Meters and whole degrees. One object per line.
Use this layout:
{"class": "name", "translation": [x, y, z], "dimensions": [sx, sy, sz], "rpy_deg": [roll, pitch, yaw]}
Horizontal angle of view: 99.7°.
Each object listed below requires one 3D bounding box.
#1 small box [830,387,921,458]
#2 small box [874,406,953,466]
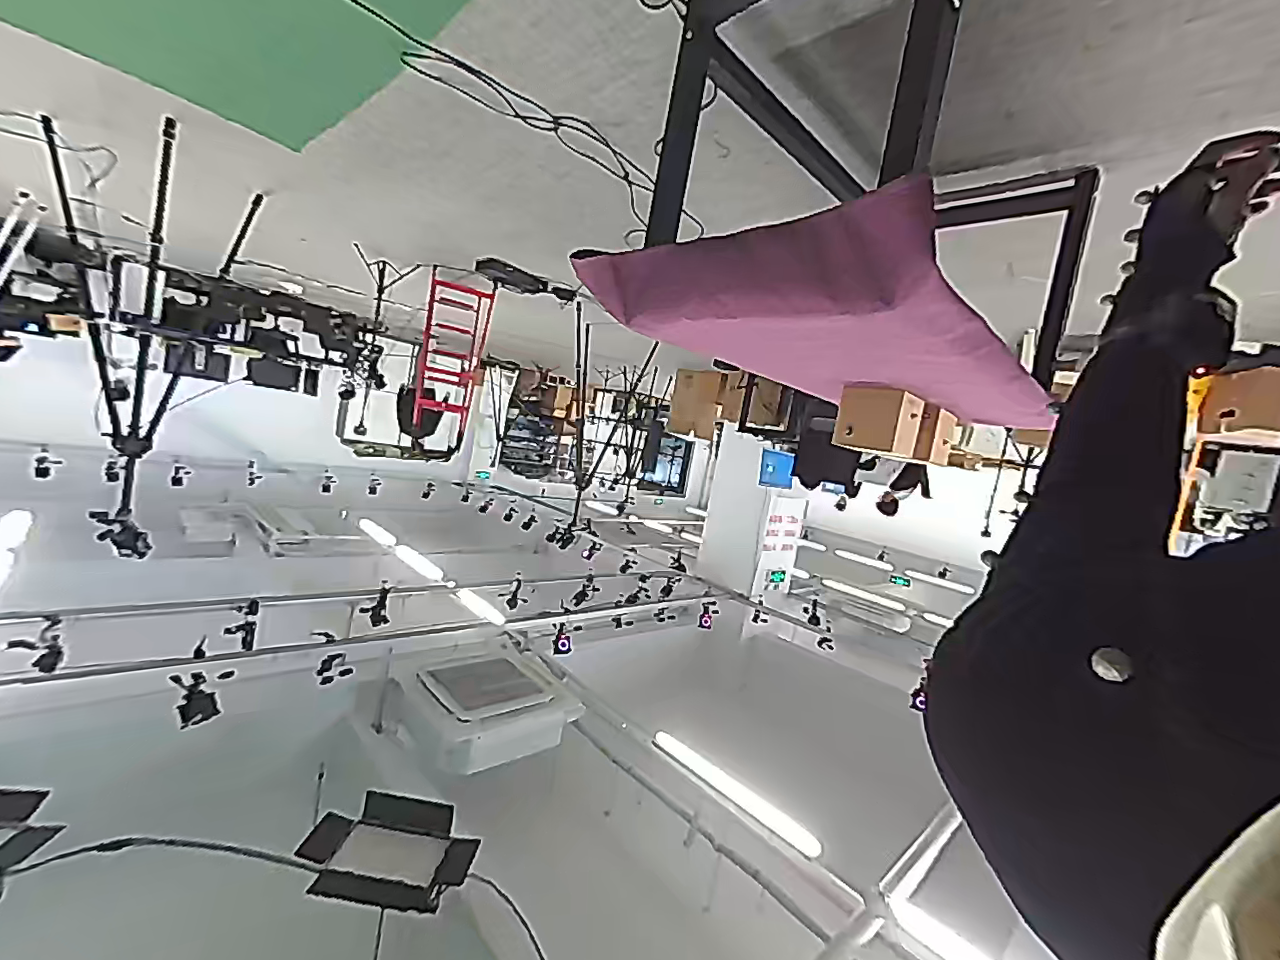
{"class": "small box", "translation": [0.676, -0.168, 1.550], "dimensions": [0.179, 0.176, 0.168], "rpy_deg": [14, -174, 44]}
{"class": "small box", "translation": [0.870, -0.144, 1.716], "dimensions": [0.179, 0.176, 0.168], "rpy_deg": [5, -173, -45]}
